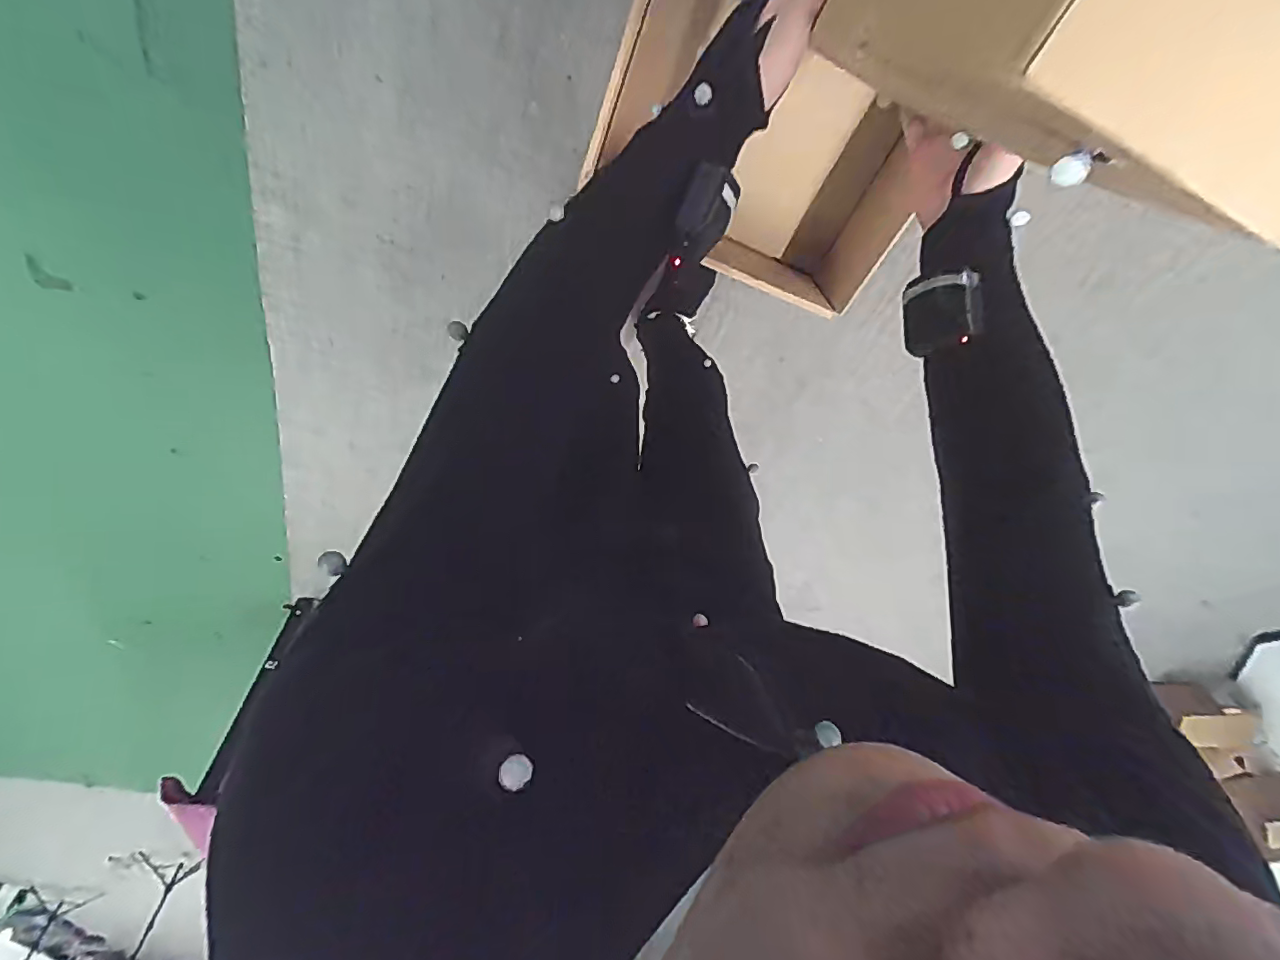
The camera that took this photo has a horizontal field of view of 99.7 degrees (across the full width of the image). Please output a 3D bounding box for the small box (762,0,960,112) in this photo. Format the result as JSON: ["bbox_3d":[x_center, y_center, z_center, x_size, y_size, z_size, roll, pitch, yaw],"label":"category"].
[{"bbox_3d":[0.233,-0.461,0.468,0.179,0.176,0.168,17,128,-18],"label":"small box"}]

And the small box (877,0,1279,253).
[{"bbox_3d":[0.246,-0.235,0.233,0.179,0.176,0.168,16,129,-17],"label":"small box"}]
